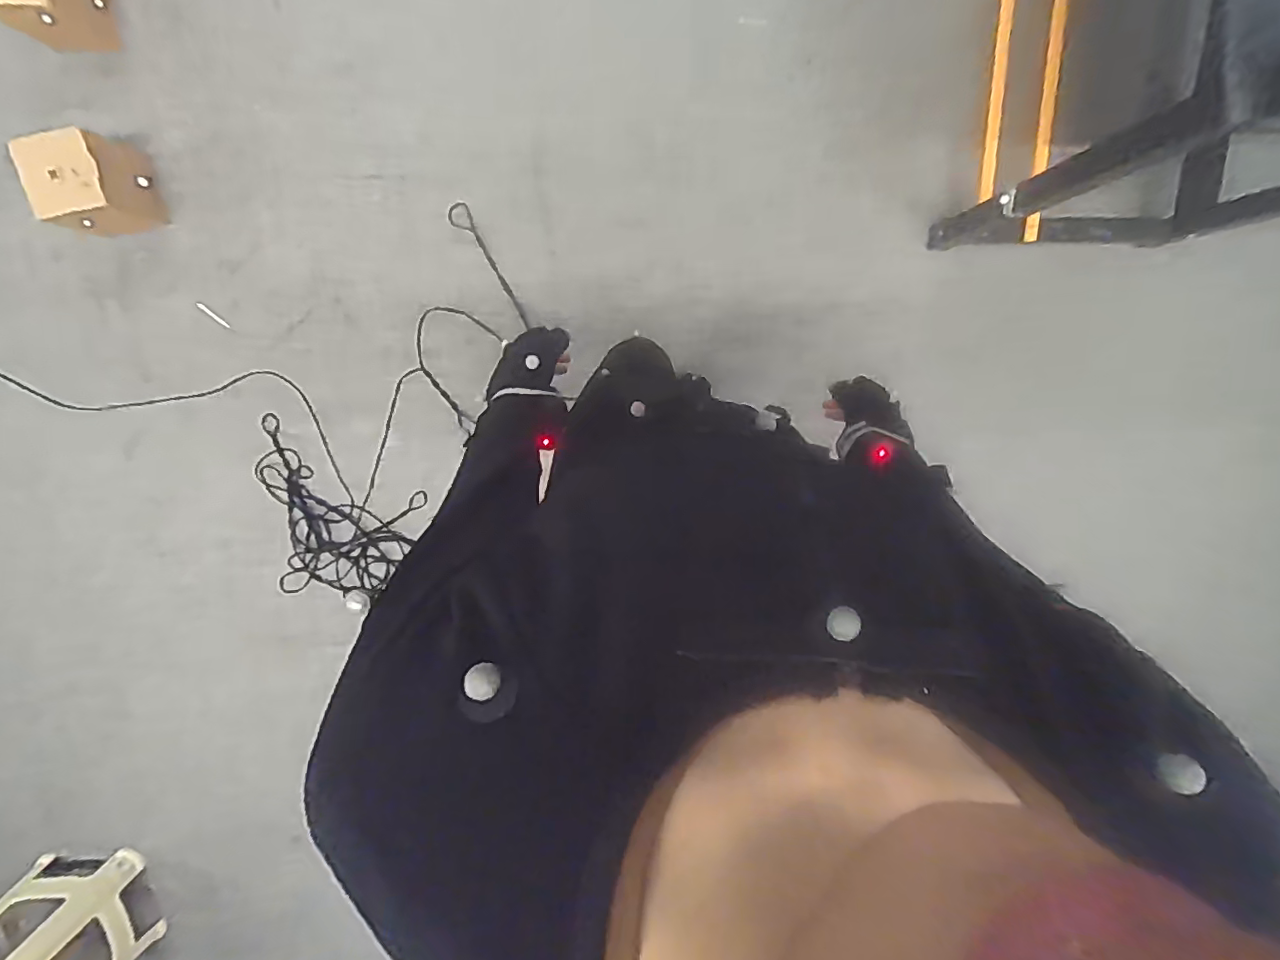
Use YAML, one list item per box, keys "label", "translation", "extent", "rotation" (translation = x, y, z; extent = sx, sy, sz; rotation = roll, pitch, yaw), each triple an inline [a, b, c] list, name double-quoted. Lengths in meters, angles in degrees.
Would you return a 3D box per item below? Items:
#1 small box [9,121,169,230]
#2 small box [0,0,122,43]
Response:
- label: "small box"
  translation: [-1.283, -0.706, 1.272]
  extent: [0.179, 0.176, 0.168]
  rotation: [-10, 102, 3]
- label: "small box"
  translation: [-1.314, -1.103, 1.190]
  extent: [0.179, 0.176, 0.168]
  rotation: [1, 102, 0]
